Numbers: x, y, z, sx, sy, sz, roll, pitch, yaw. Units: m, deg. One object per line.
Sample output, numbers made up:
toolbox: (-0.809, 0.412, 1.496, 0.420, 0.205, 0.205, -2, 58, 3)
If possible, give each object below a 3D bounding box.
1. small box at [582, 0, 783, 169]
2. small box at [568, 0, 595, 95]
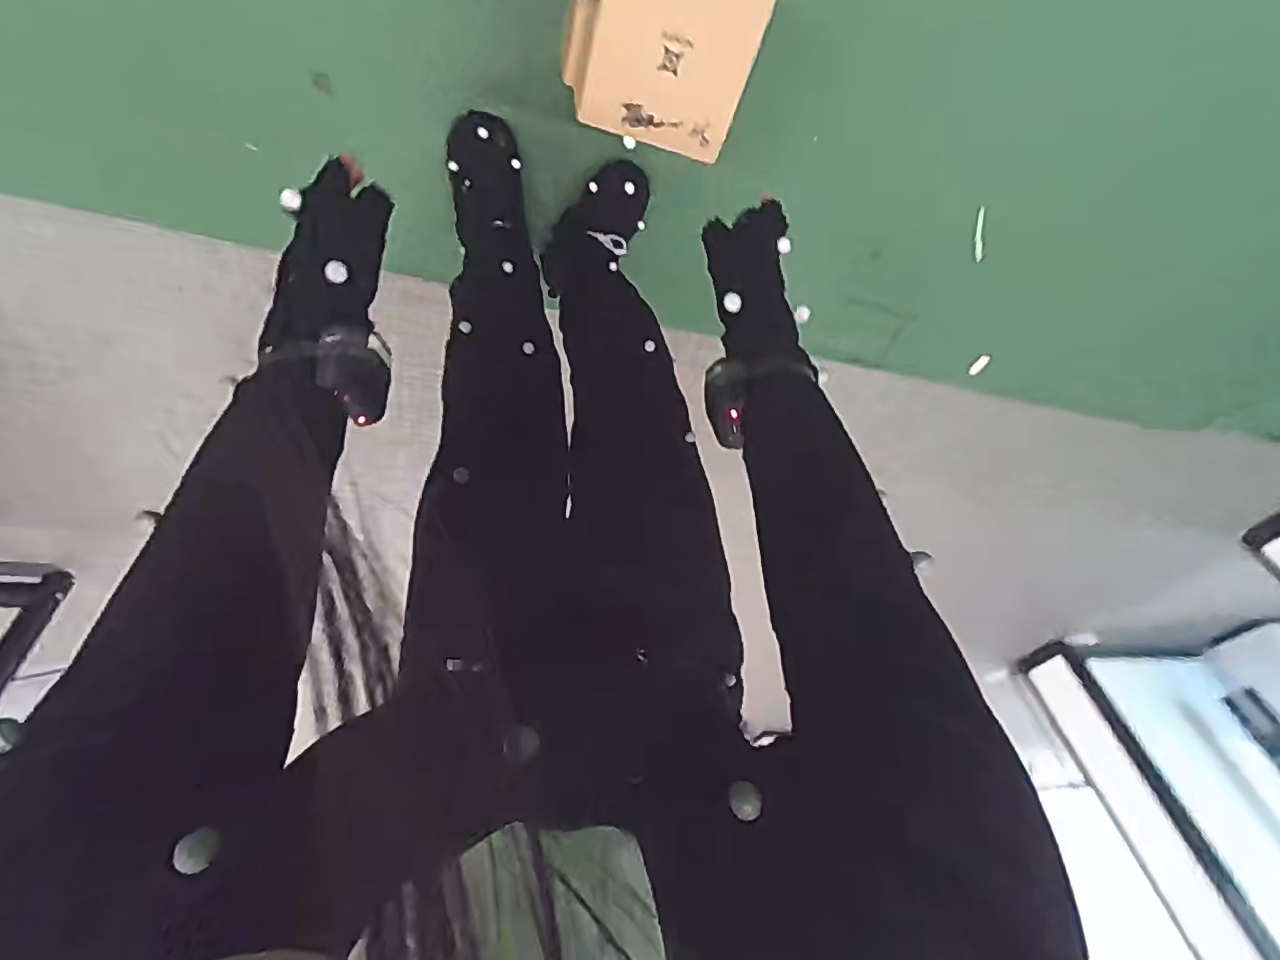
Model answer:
small box: (0.032, -0.490, 0.605, 0.168, 0.176, 0.179, 8, 135, -17)
small box: (0.005, -0.595, 0.702, 0.168, 0.176, 0.179, 11, 135, -18)
